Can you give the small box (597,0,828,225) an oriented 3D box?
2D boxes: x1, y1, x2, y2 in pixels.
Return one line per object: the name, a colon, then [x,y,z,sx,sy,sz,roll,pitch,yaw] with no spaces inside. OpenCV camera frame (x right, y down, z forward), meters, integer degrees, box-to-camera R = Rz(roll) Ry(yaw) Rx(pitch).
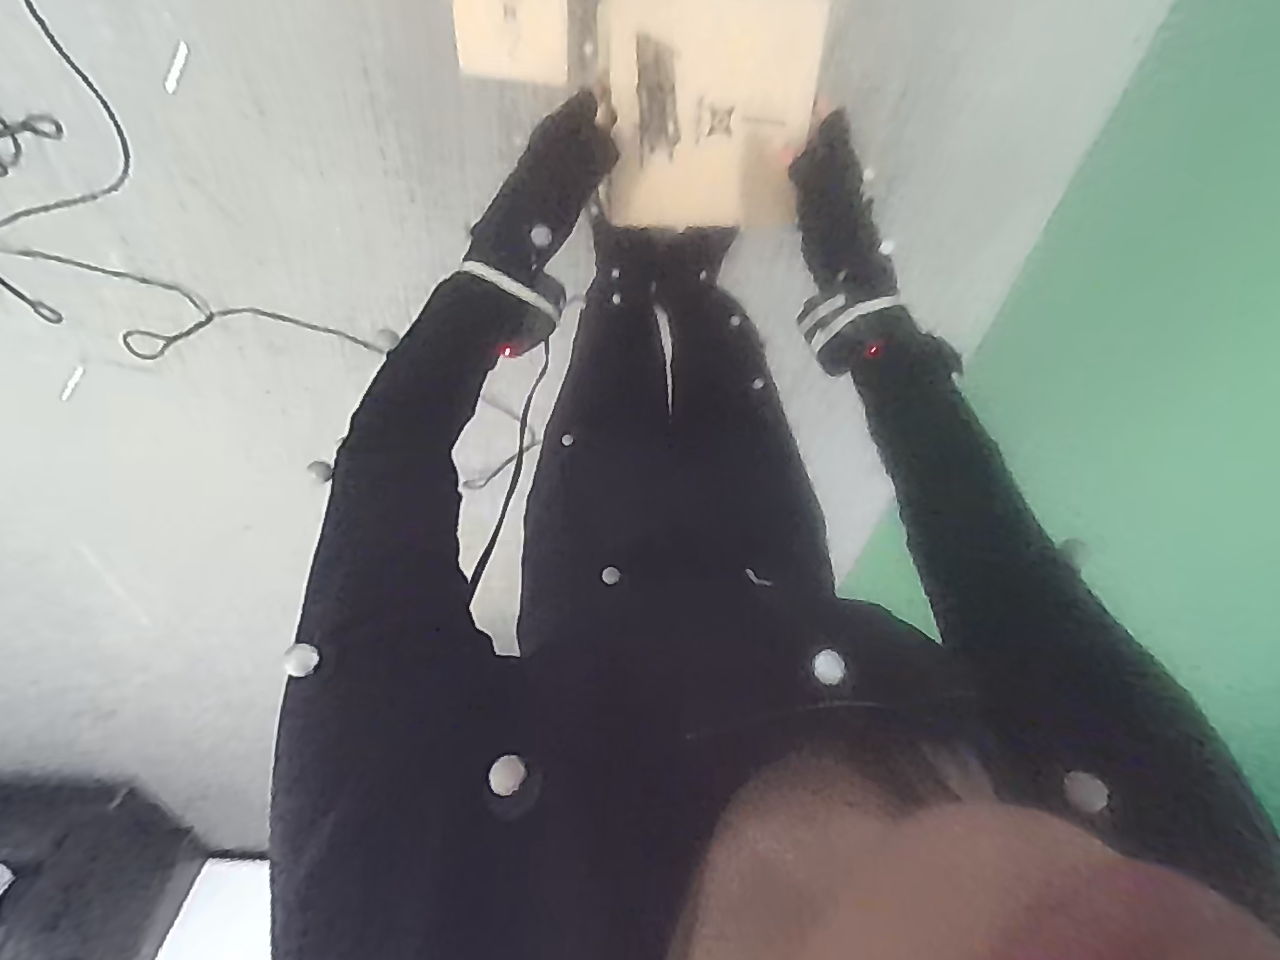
small box: [0.048,-0.347,0.513,0.179,0.176,0.168,-3,126,-6]
